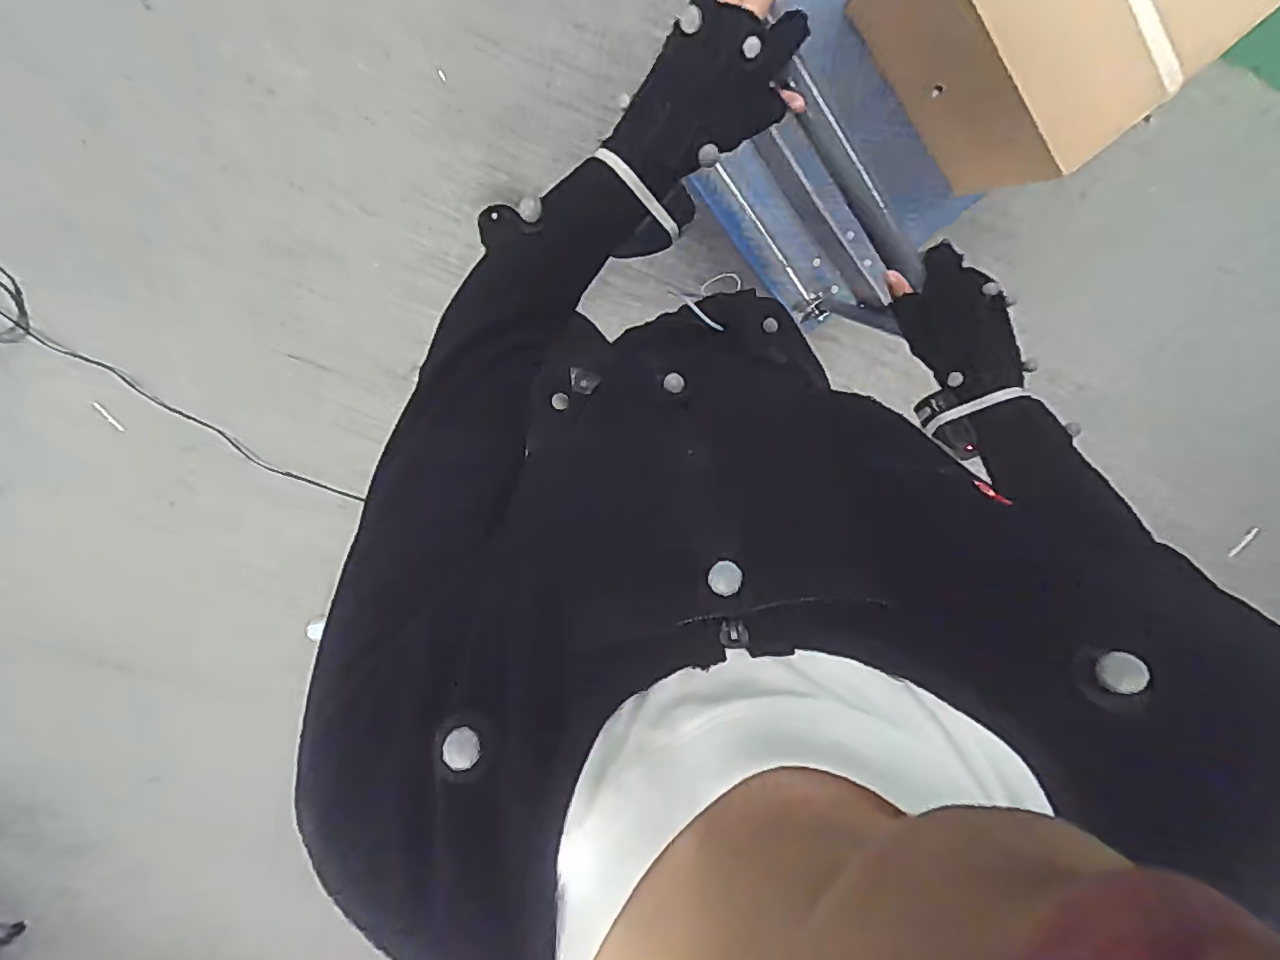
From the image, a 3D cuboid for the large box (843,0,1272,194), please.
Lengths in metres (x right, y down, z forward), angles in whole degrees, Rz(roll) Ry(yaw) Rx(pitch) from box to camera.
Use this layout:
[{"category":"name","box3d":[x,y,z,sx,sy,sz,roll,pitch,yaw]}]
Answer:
[{"category":"large box","box3d":[0.596,-0.729,0.840,0.320,0.320,0.408,-39,106,16]}]
